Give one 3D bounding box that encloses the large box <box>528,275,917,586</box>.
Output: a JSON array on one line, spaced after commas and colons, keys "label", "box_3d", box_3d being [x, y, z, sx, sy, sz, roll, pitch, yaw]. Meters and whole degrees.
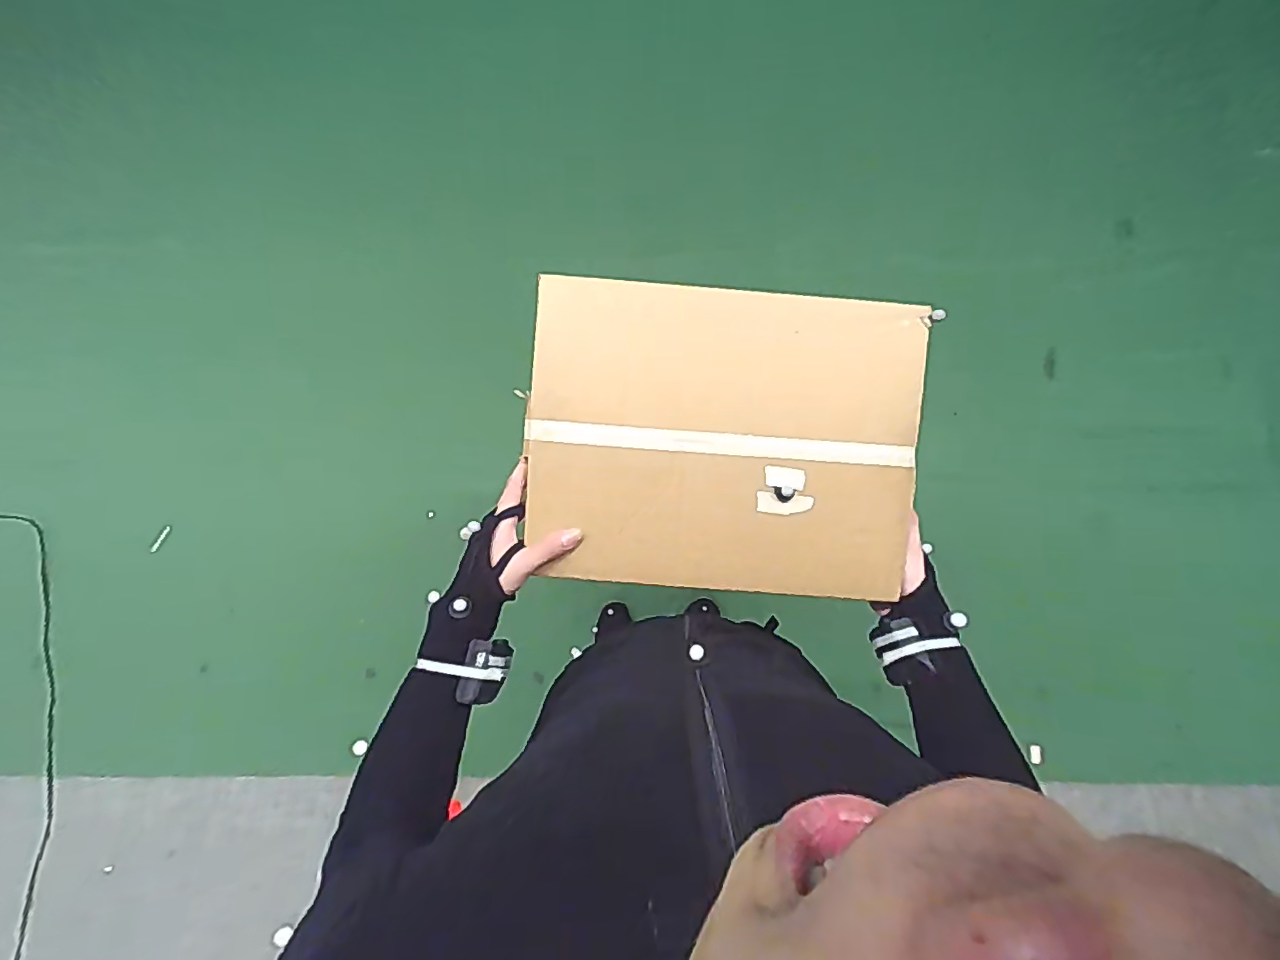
[{"label": "large box", "box_3d": [0.080, -0.057, 0.720, 0.408, 0.320, 0.320, 4, 95, -2]}]
